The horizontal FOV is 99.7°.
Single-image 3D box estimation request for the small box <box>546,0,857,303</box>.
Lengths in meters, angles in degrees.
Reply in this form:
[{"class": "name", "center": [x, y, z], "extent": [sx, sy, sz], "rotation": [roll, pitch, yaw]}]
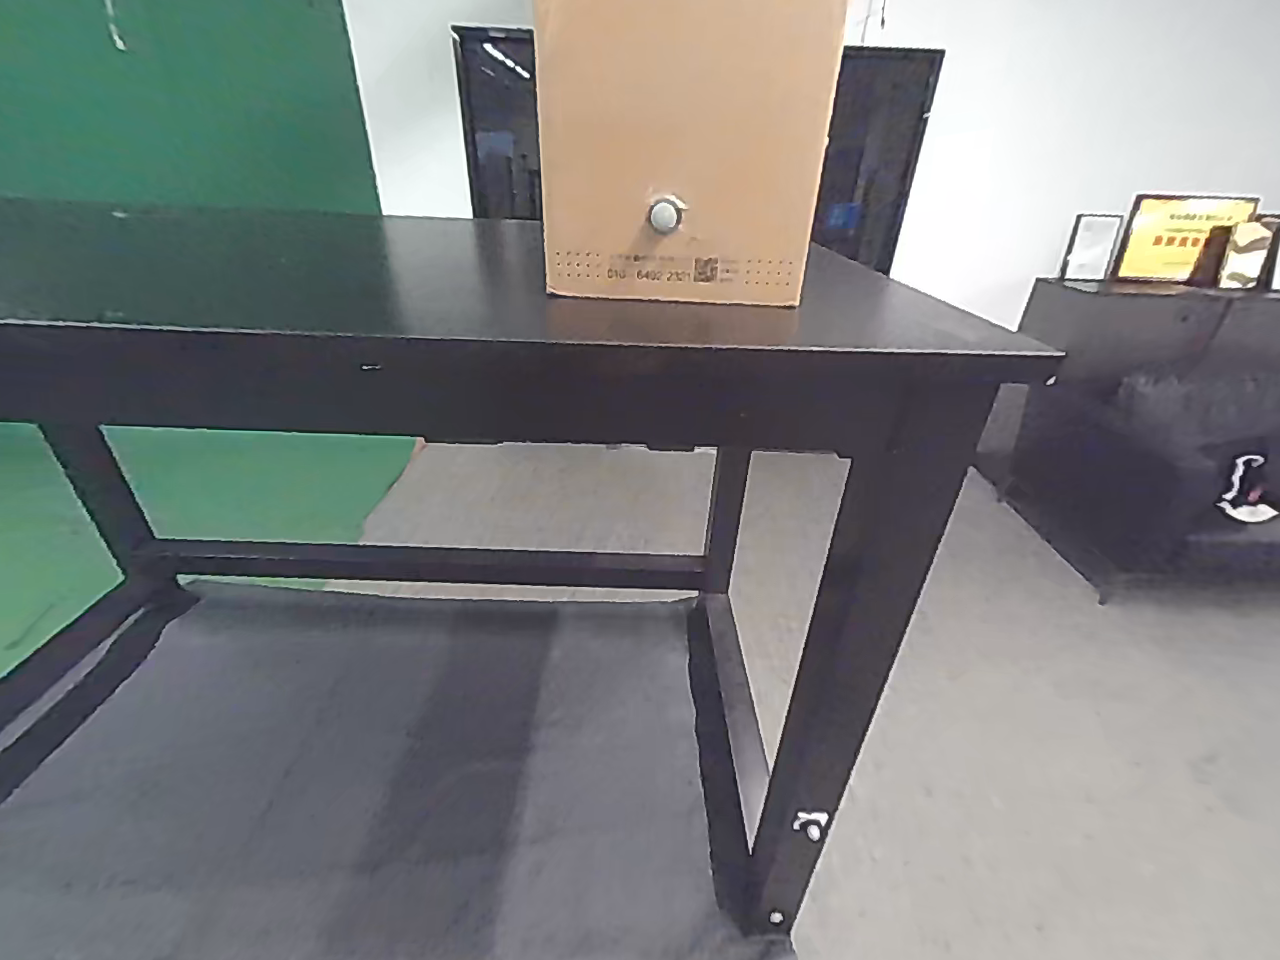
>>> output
[{"class": "small box", "center": [0.035, -0.233, 0.382], "extent": [0.168, 0.176, 0.179], "rotation": [4, 31, 4]}]
